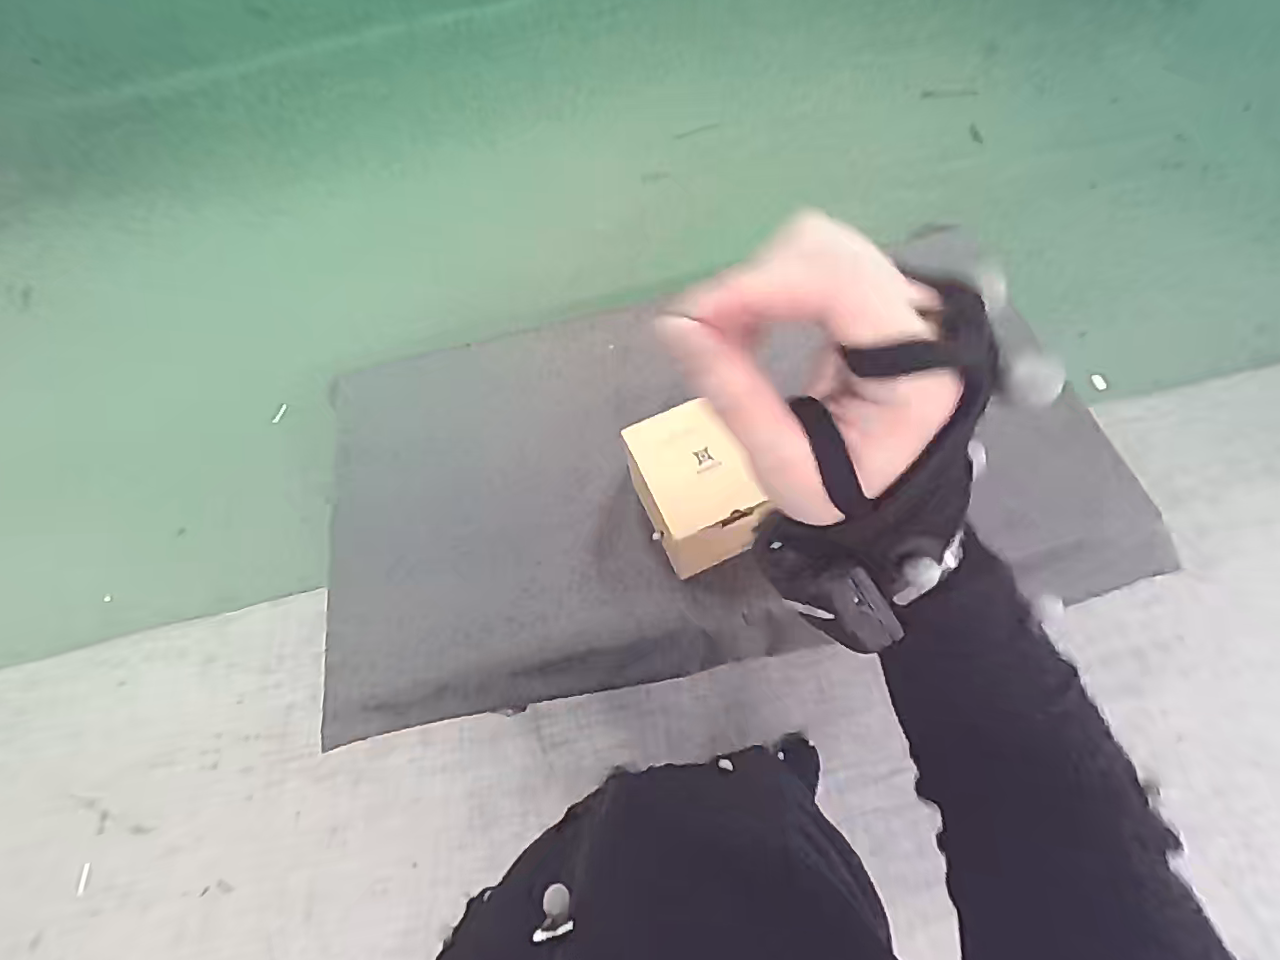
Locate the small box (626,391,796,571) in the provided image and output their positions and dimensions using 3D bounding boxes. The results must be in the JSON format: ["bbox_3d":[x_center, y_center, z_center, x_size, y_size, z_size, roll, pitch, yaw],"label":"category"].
[{"bbox_3d":[0.095,0.013,0.765,0.168,0.176,0.179,-24,63,-7],"label":"small box"}]
